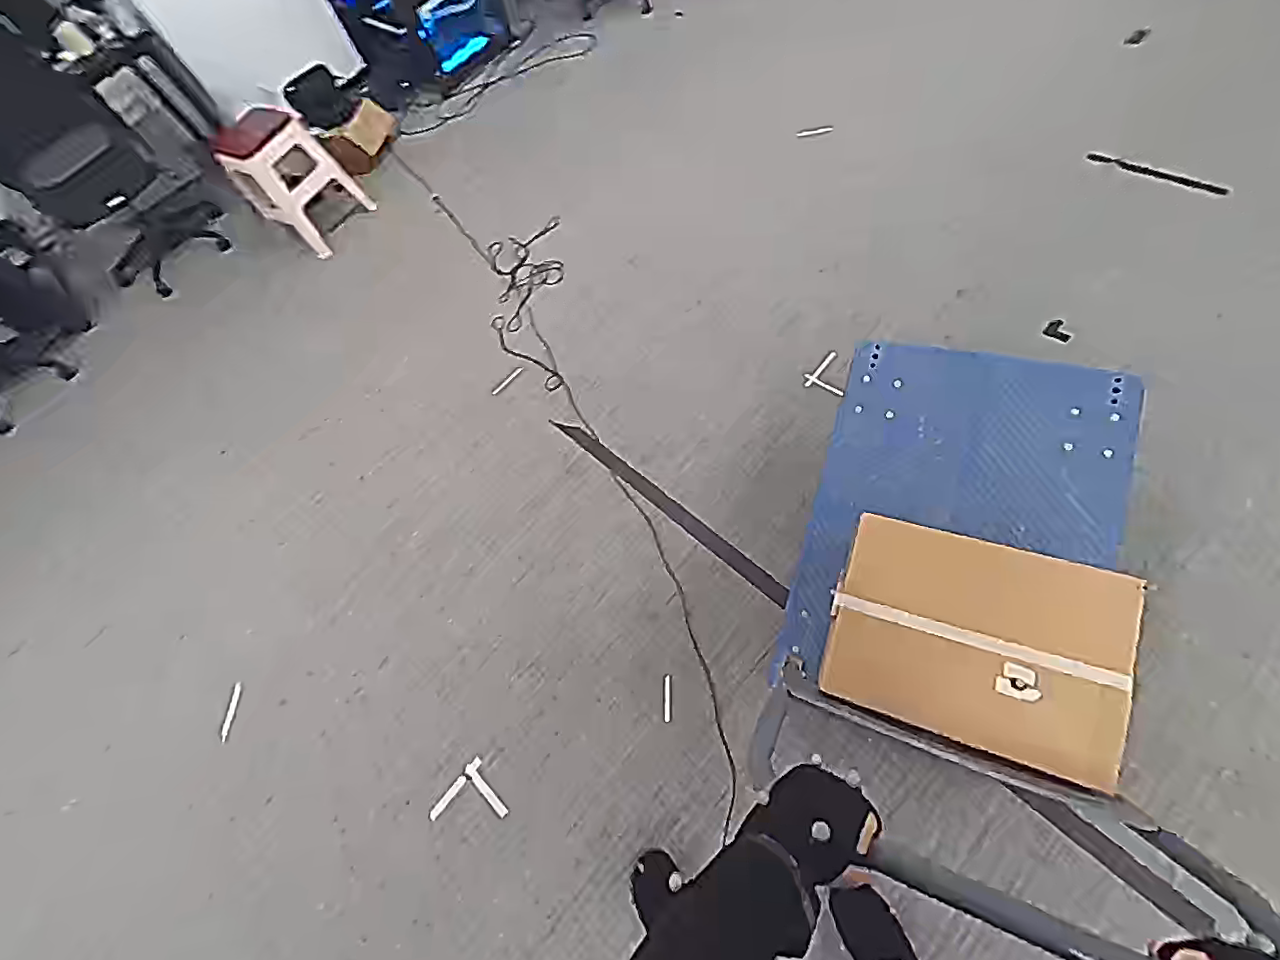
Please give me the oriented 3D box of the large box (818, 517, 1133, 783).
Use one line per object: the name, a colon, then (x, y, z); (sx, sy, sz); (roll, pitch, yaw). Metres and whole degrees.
large box: (0.567, 0.288, 1.001); (0.408, 0.320, 0.320); (14, 81, 20)
